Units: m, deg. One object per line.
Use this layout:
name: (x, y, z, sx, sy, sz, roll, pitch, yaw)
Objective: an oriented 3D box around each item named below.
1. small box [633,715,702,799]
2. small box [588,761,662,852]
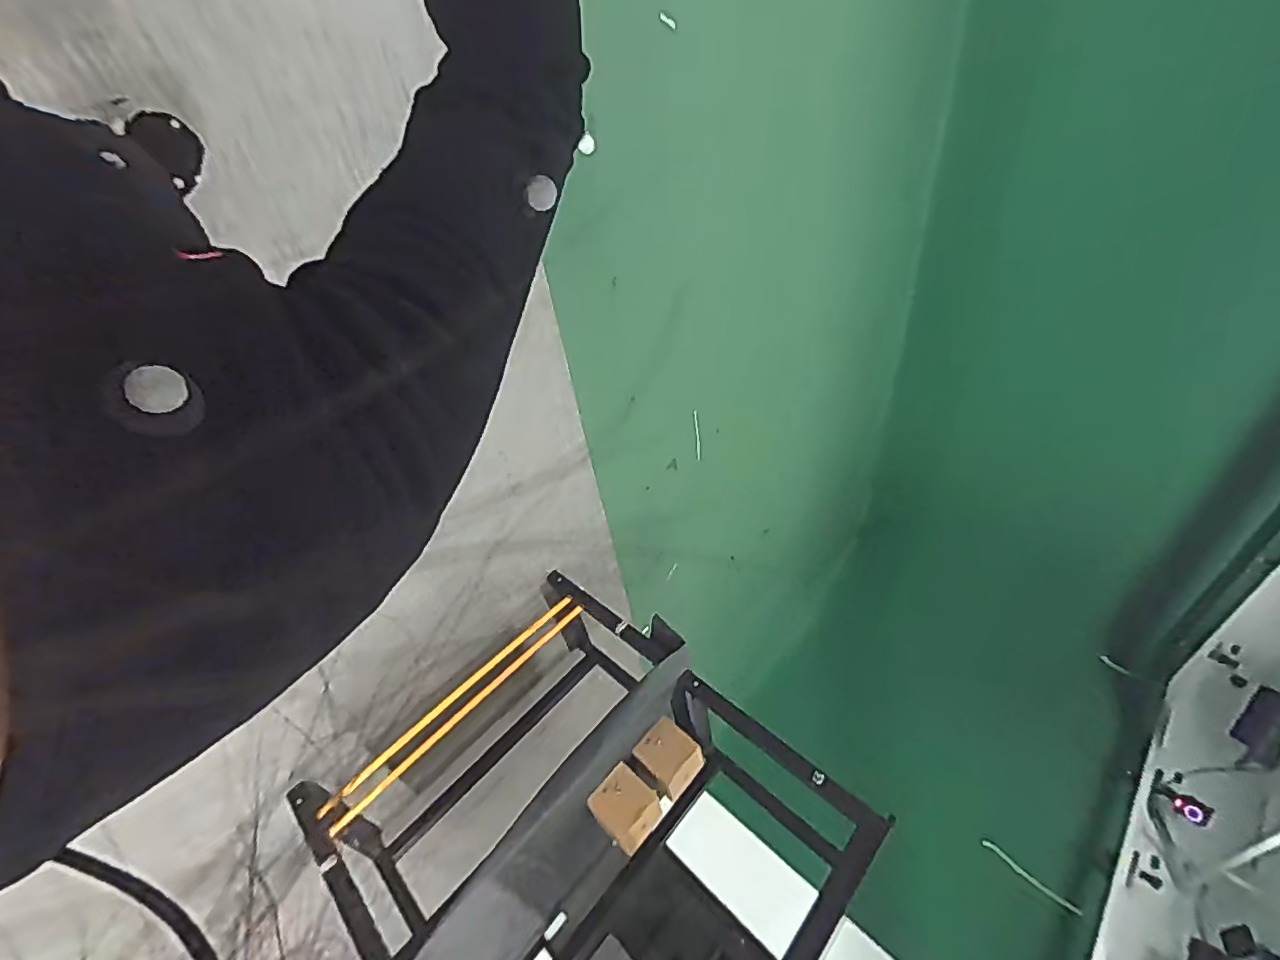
small box: (0.097, 0.959, 1.881, 0.168, 0.176, 0.179, -40, 138, -28)
small box: (-0.049, 1.068, 1.780, 0.168, 0.176, 0.179, -39, 138, -28)
